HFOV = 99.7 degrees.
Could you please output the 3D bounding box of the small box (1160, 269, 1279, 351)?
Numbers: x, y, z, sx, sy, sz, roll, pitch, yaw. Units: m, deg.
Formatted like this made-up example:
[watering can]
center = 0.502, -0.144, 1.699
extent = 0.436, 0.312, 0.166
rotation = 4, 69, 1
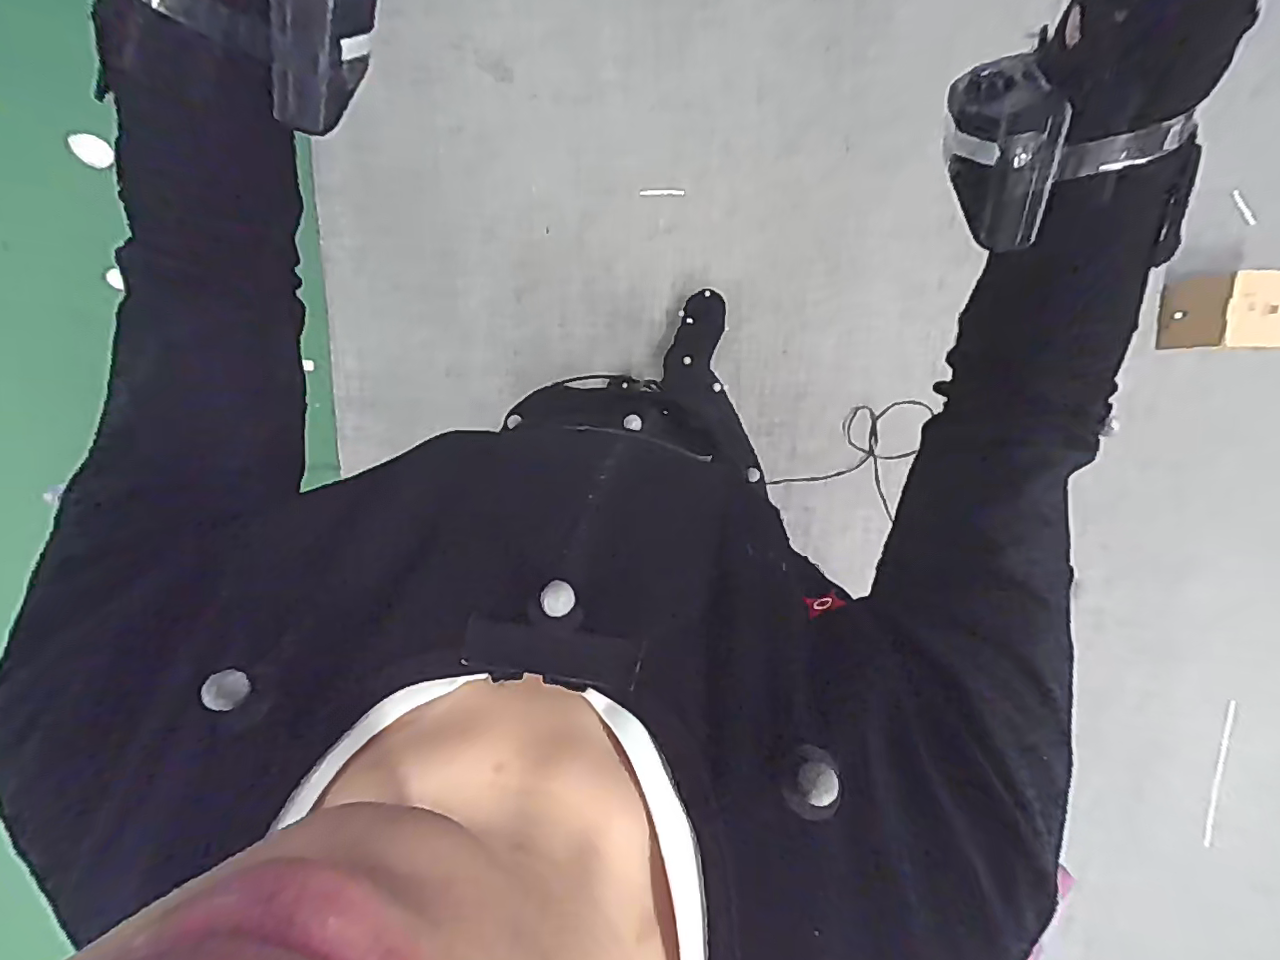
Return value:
[small box]
center = 1.401, -0.394, 1.274
extent = 0.179, 0.176, 0.168
rotation = 1, 100, 2
